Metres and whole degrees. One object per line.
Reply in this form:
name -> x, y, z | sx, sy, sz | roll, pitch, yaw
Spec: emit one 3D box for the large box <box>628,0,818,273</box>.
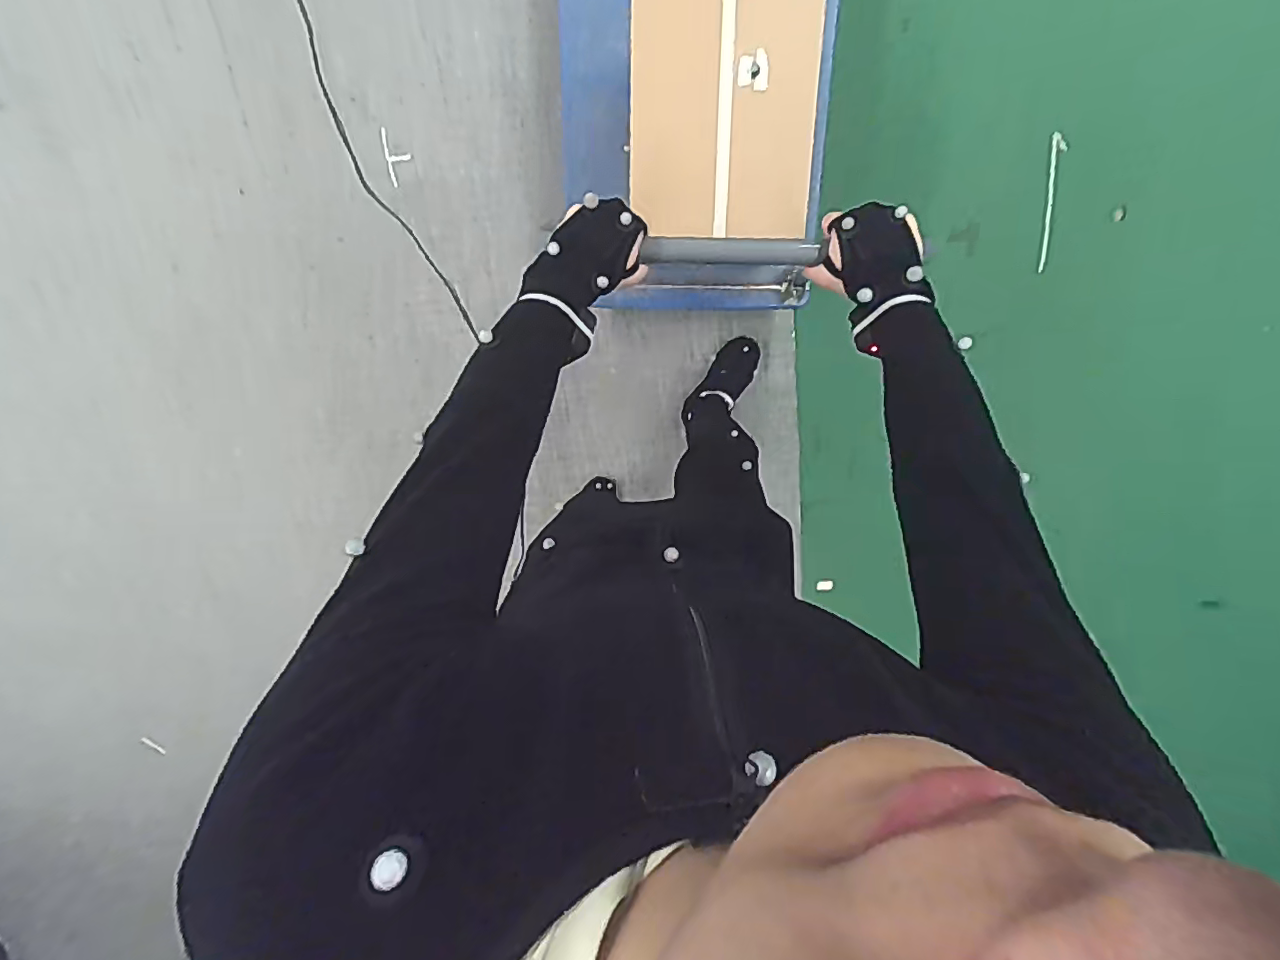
large box -> 0.140, -0.639, 1.064 | 0.320, 0.320, 0.408 | 0, 105, 0
